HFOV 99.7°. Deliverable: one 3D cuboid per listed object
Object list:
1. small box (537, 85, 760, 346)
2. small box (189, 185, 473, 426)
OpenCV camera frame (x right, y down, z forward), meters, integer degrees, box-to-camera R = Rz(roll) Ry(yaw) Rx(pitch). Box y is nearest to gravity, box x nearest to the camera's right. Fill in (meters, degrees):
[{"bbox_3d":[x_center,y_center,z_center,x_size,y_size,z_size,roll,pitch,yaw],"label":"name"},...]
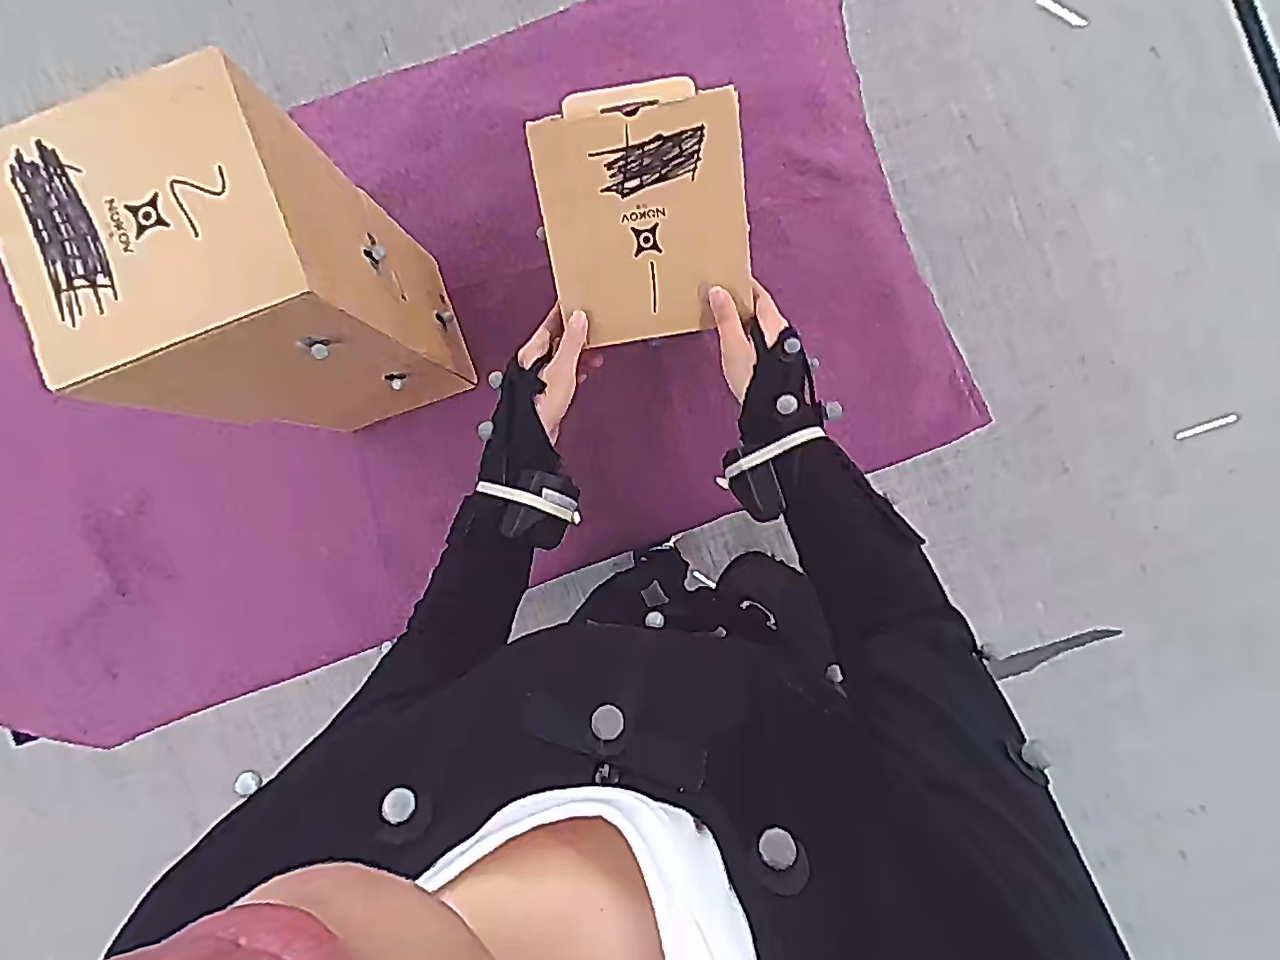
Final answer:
[{"bbox_3d":[0.010,-0.231,0.508,0.168,0.176,0.179,-7,110,3],"label":"small box"},{"bbox_3d":[-0.306,-0.165,0.572,0.179,0.176,0.168,-20,89,1],"label":"small box"}]
